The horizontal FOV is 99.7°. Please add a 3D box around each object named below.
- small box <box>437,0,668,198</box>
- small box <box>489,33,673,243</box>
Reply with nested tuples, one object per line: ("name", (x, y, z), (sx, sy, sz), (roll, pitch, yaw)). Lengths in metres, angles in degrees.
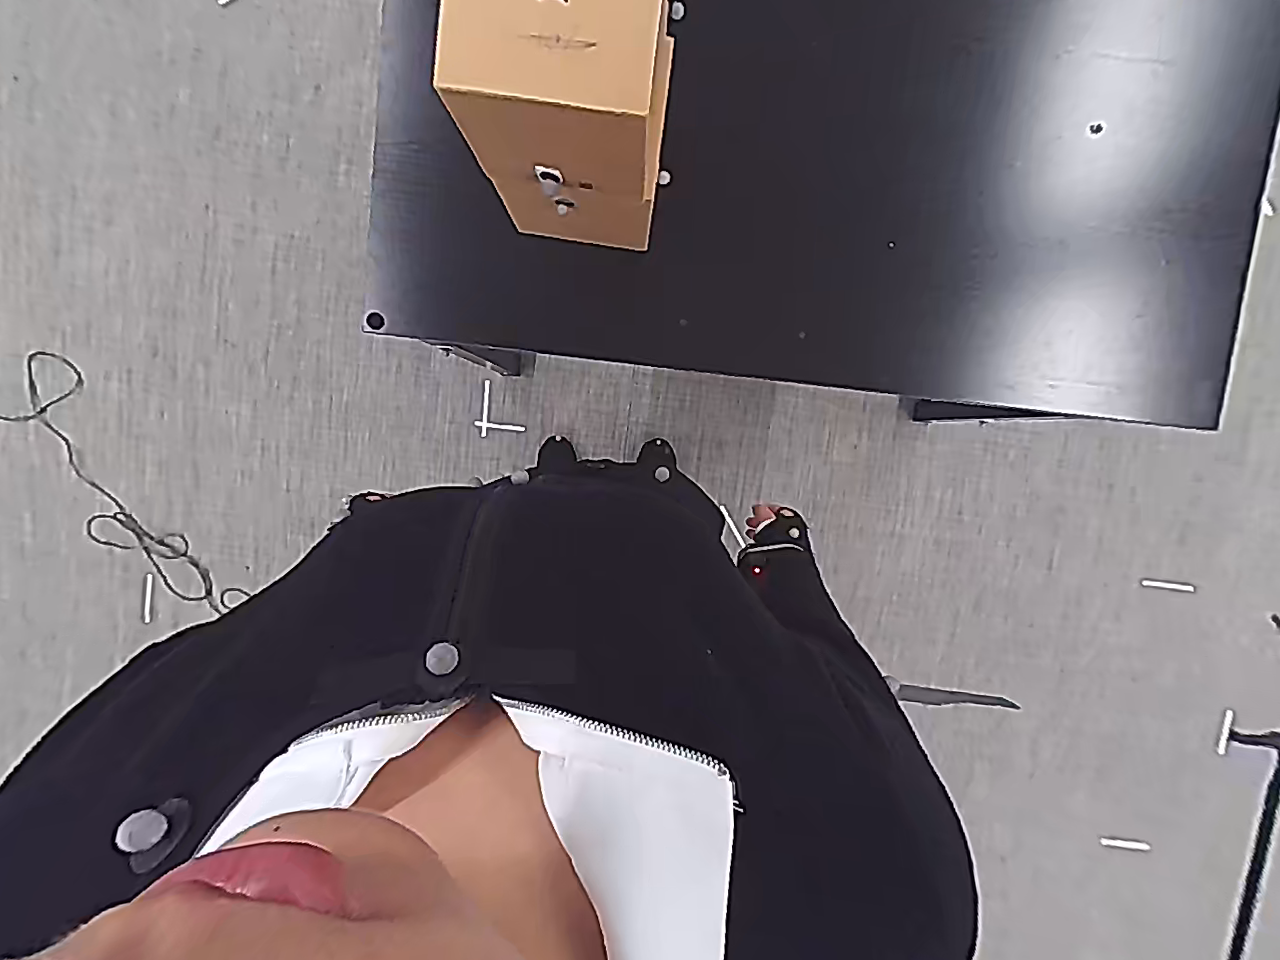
("small box", (-0.063, -0.384, 0.482), (0.168, 0.176, 0.179), (7, 96, -1))
("small box", (-0.064, -0.400, 0.643), (0.179, 0.176, 0.168), (8, 95, -3))
